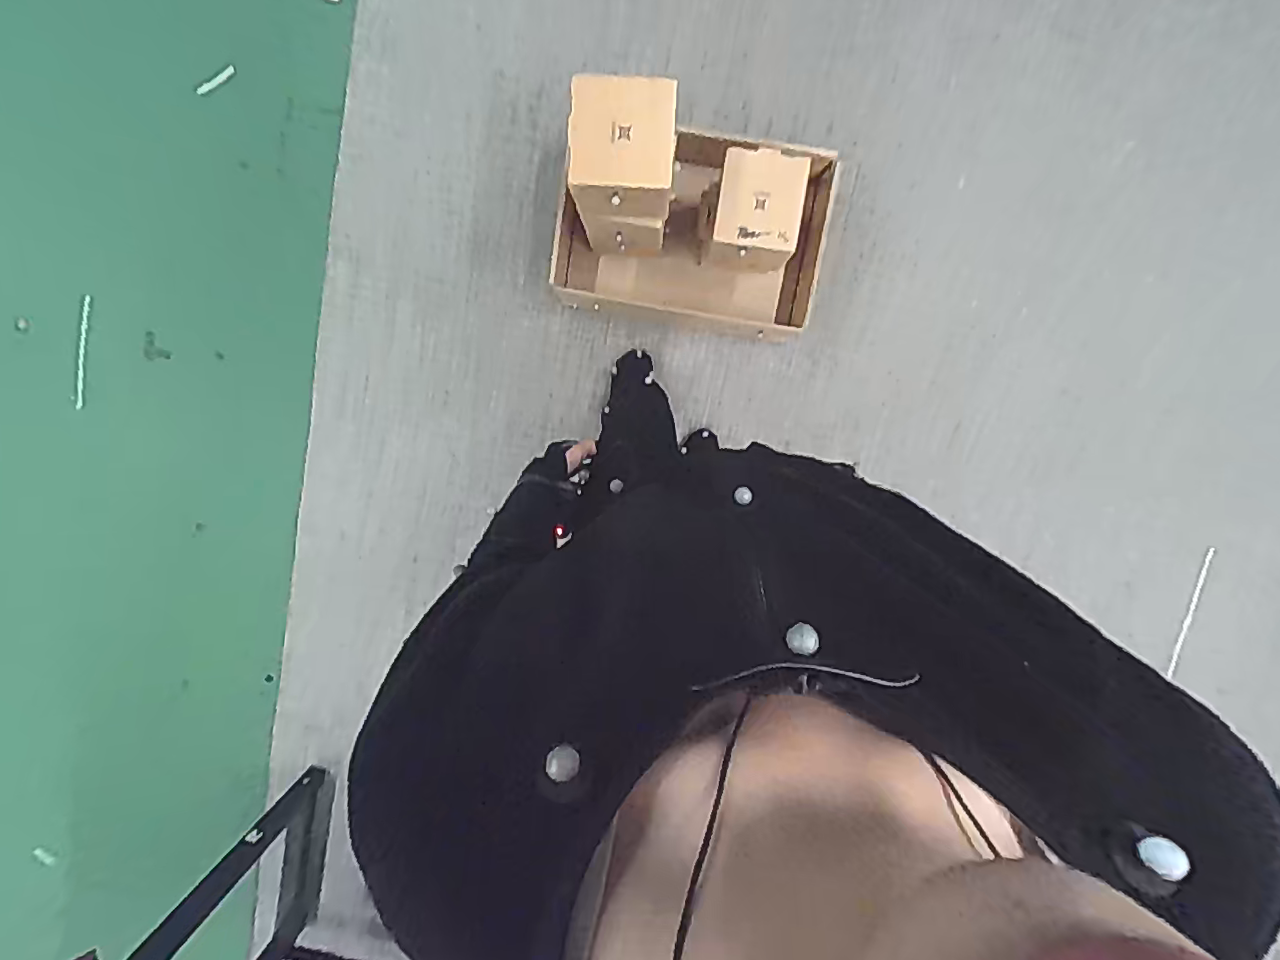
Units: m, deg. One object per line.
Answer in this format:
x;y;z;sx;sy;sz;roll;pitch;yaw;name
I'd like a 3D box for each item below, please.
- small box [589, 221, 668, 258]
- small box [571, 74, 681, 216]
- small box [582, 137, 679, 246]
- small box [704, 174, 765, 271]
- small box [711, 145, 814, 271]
-0.020;-0.640;1.287;0.179;0.176;0.168;6;99;-1;small box
-0.023;-0.584;0.965;0.179;0.176;0.168;3;100;1;small box
-0.017;-0.606;1.126;0.168;0.176;0.179;10;99;-1;small box
0.248;-0.602;1.282;0.179;0.176;0.168;5;99;2;small box
0.244;-0.555;1.124;0.168;0.176;0.179;9;98;2;small box
